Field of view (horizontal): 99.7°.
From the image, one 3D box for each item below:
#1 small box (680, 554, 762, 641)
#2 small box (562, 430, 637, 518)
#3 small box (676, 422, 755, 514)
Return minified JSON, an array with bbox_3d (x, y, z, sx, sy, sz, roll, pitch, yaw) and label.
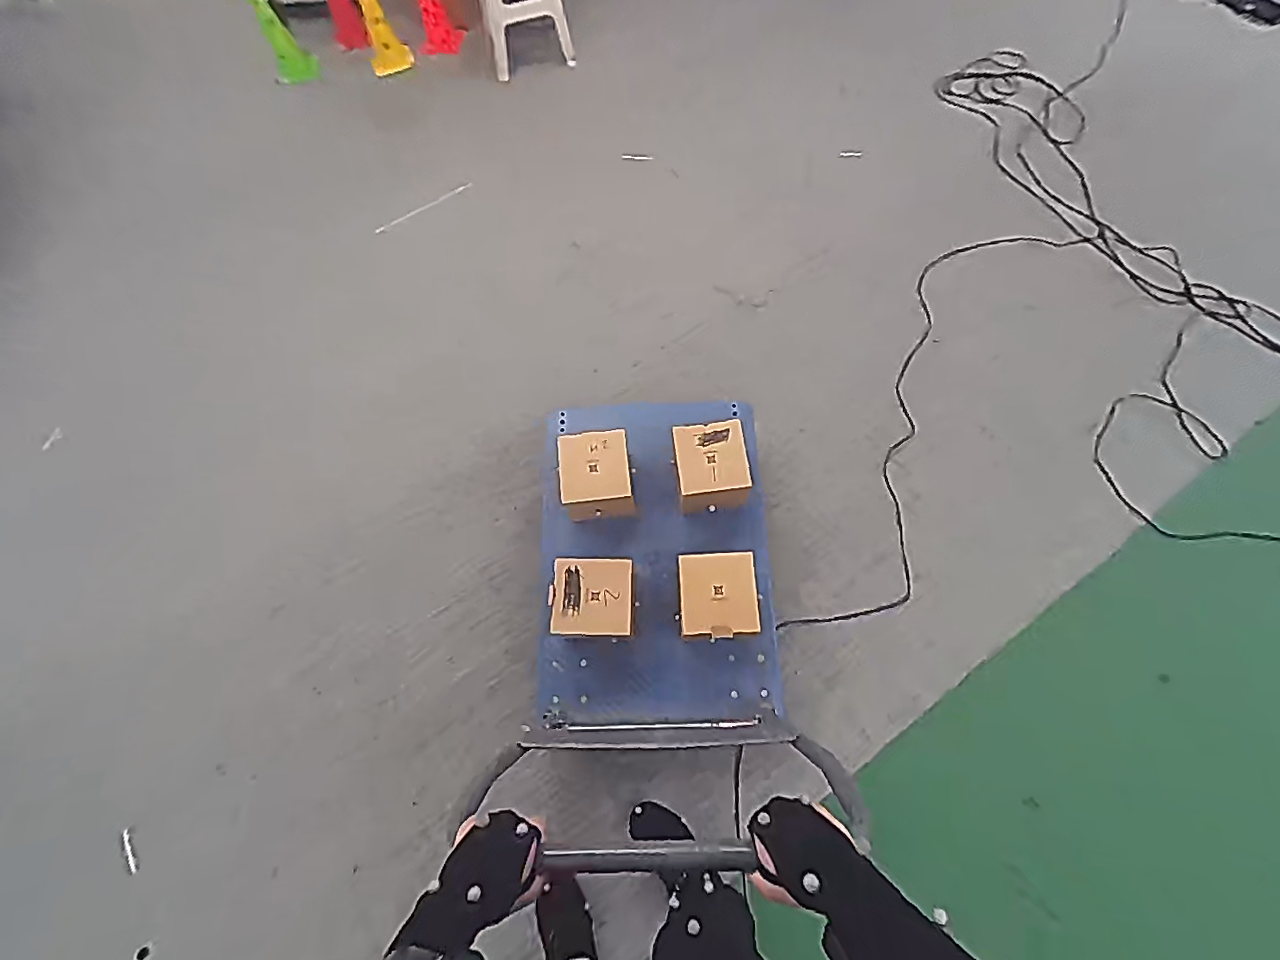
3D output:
[{"bbox_3d":[0.179,0.274,1.243,0.168,0.176,0.179,-2,72,2],"label":"small box"},{"bbox_3d":[-0.099,-0.007,1.350,0.168,0.176,0.179,-5,71,0],"label":"small box"},{"bbox_3d":[0.180,-0.025,1.344,0.168,0.176,0.179,-7,72,1],"label":"small box"}]
